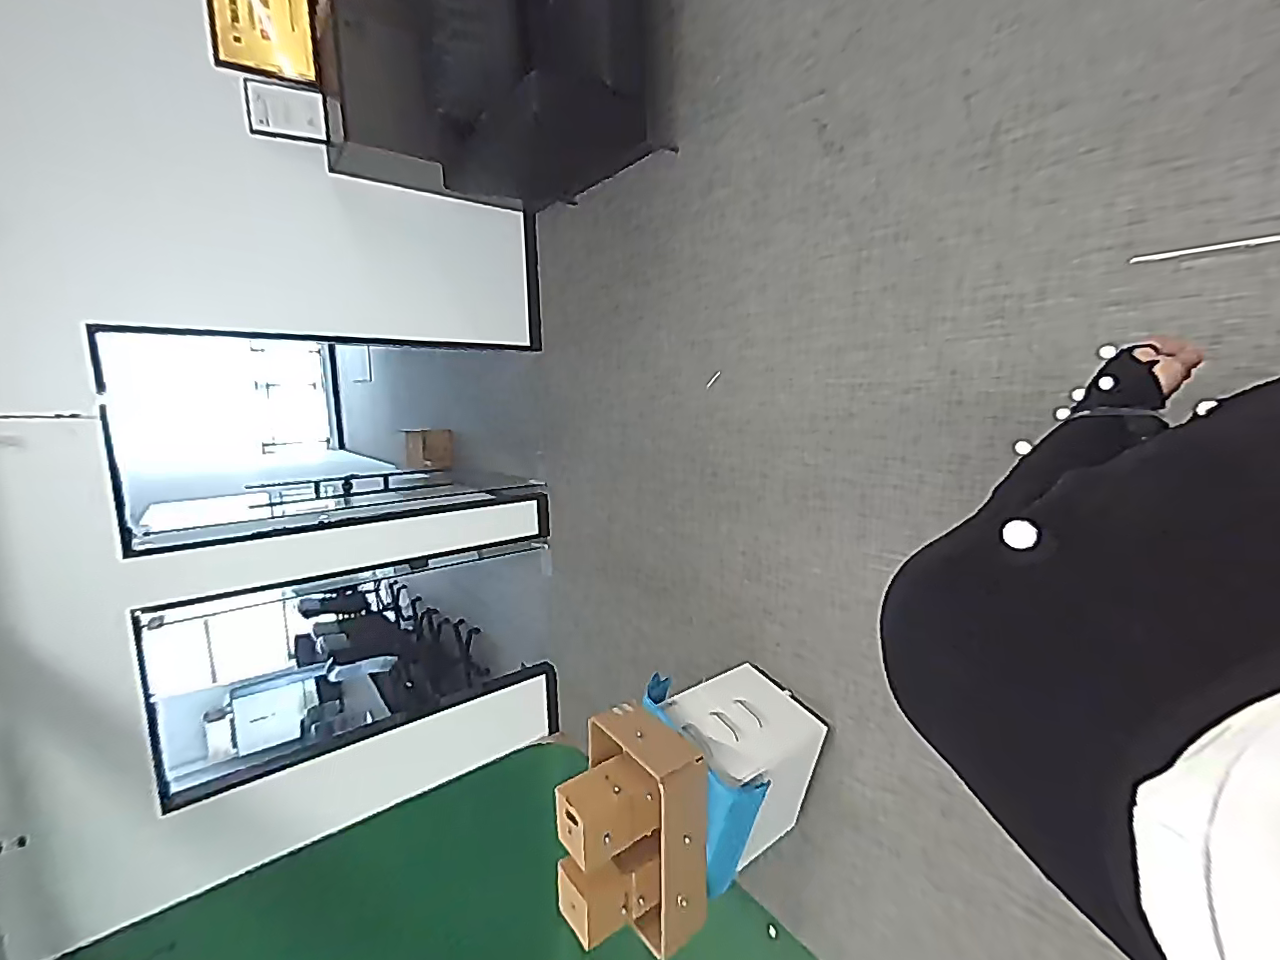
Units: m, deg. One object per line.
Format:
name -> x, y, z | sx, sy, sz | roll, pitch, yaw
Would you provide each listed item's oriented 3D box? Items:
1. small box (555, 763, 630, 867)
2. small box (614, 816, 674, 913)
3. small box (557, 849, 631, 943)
small box -> -0.142, 0.998, 1.631 | 0.168, 0.176, 0.179 | 12, 106, 53
small box -> -0.009, 1.244, 1.769 | 0.179, 0.176, 0.168 | 13, 105, 53
small box -> -0.144, 1.259, 1.678 | 0.179, 0.176, 0.168 | 12, 104, 52
